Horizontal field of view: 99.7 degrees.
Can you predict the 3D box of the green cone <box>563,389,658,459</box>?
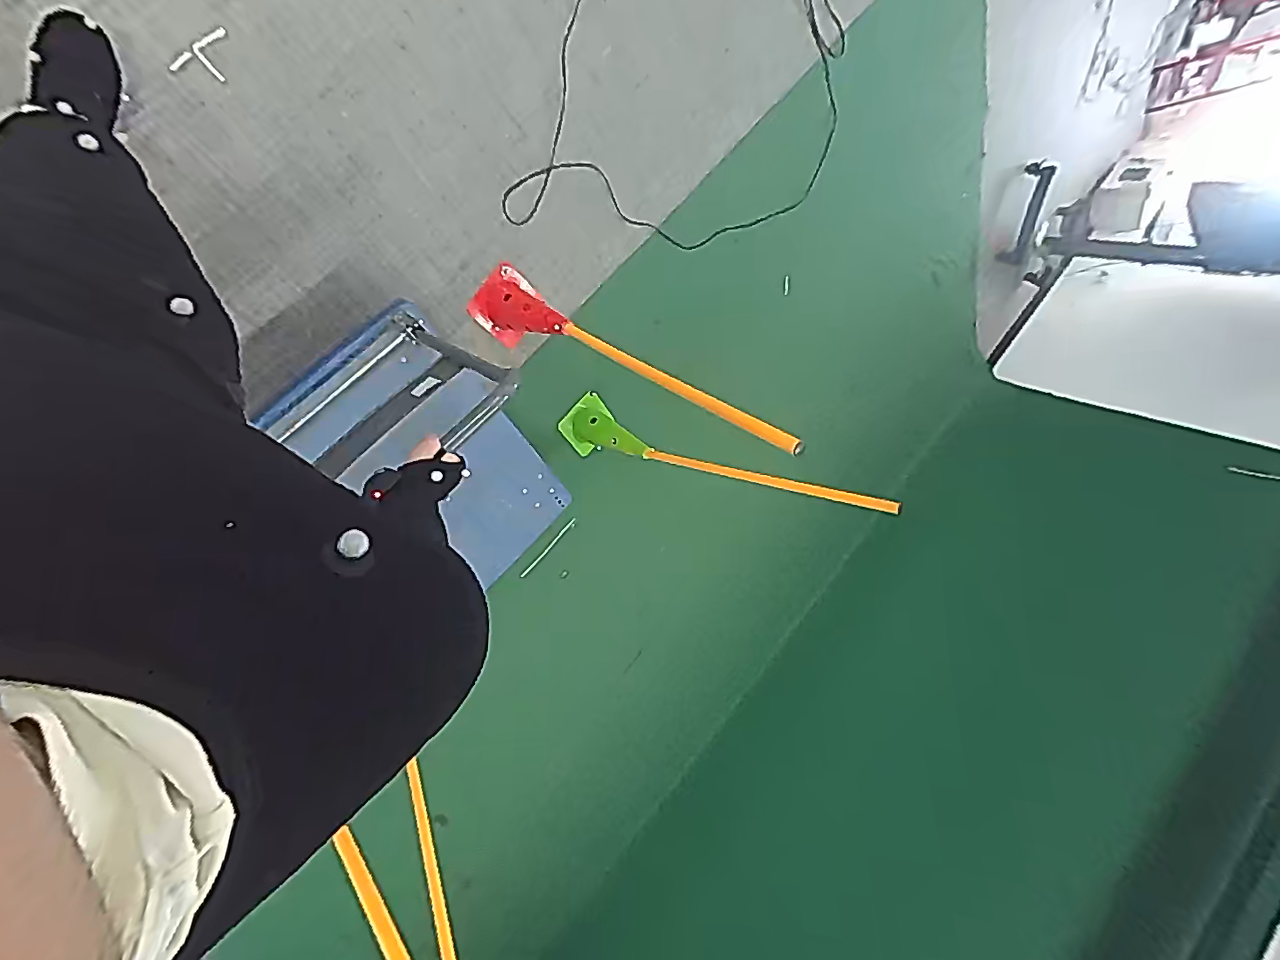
[{"bbox_3d":[-0.074,-0.157,1.939,0.200,0.368,0.202,-50,138,-11],"label":"green cone"}]
